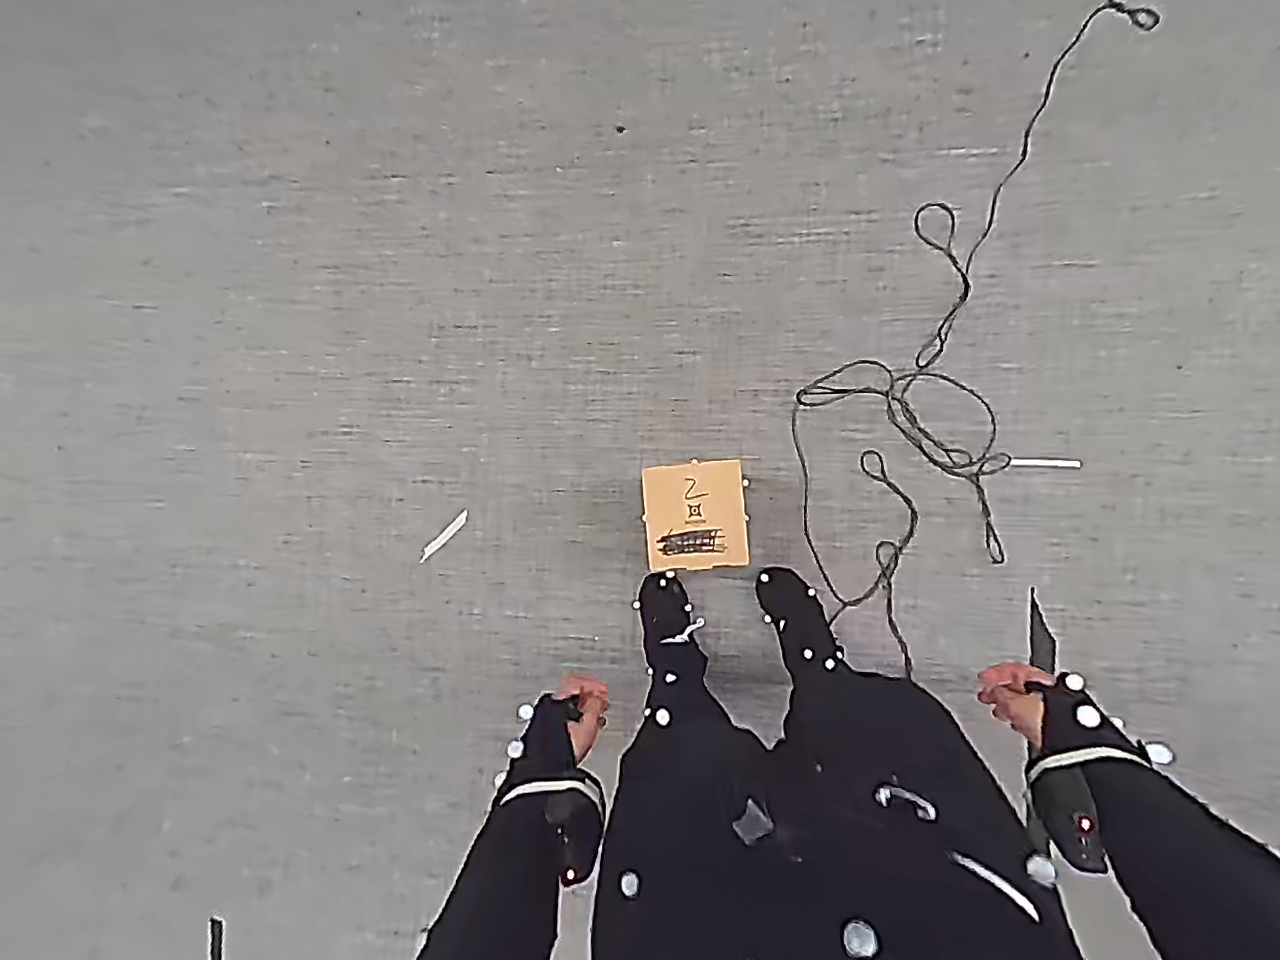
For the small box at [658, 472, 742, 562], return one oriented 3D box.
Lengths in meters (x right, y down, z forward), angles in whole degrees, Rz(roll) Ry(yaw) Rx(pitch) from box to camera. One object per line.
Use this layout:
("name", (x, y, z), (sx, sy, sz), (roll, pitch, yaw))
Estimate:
("small box", (0.127, 0.073, 1.129), (0.168, 0.176, 0.179), (0, 88, 7))
